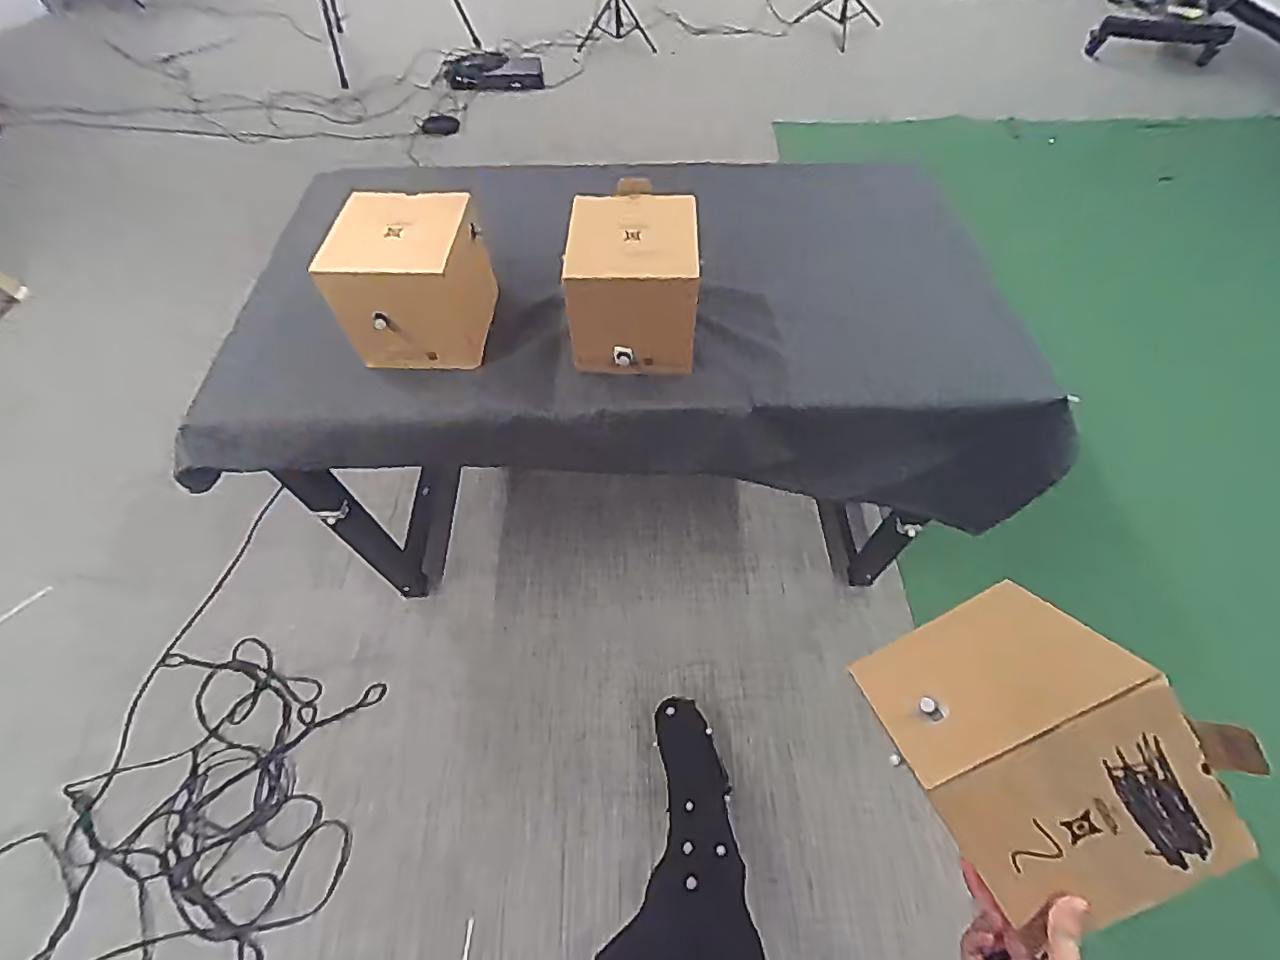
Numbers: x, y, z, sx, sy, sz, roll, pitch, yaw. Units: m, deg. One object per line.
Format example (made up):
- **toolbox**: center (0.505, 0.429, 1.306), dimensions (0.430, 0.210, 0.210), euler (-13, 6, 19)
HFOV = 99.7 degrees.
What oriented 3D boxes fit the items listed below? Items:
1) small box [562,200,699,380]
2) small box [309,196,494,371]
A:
- **small box**: center (-0.009, -0.261, 0.751), dimensions (0.168, 0.176, 0.179), euler (0, 57, 1)
- **small box**: center (-0.314, -0.269, 0.757), dimensions (0.168, 0.176, 0.179), euler (1, 56, 1)
